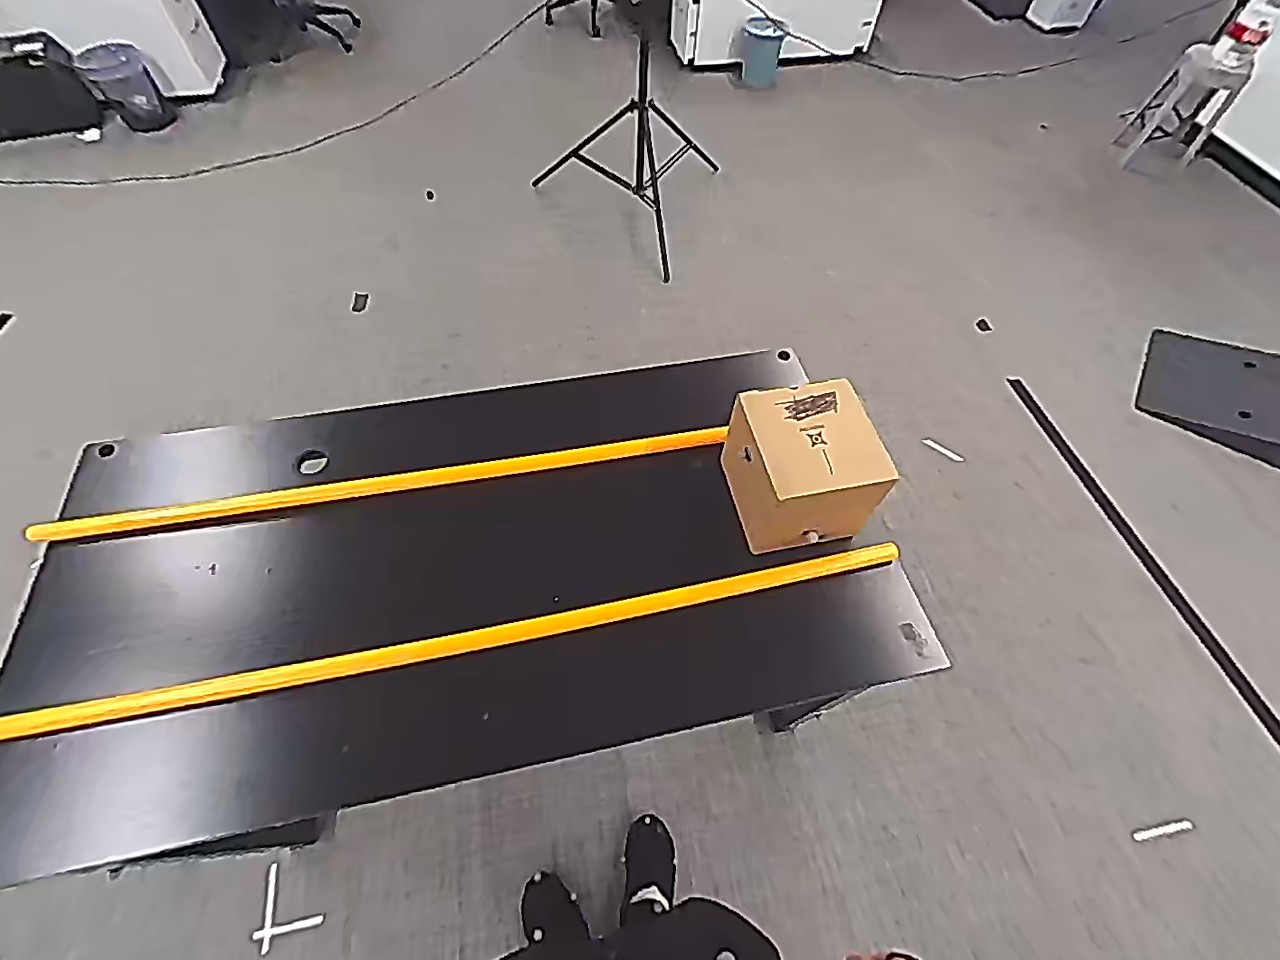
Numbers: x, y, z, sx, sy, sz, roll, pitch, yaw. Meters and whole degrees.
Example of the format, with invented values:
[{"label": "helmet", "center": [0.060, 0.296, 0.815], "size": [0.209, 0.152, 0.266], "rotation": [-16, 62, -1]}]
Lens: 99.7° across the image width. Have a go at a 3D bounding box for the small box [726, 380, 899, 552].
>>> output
[{"label": "small box", "center": [0.233, -0.018, 0.788], "size": [0.168, 0.176, 0.179], "rotation": [-9, 59, -6]}]
